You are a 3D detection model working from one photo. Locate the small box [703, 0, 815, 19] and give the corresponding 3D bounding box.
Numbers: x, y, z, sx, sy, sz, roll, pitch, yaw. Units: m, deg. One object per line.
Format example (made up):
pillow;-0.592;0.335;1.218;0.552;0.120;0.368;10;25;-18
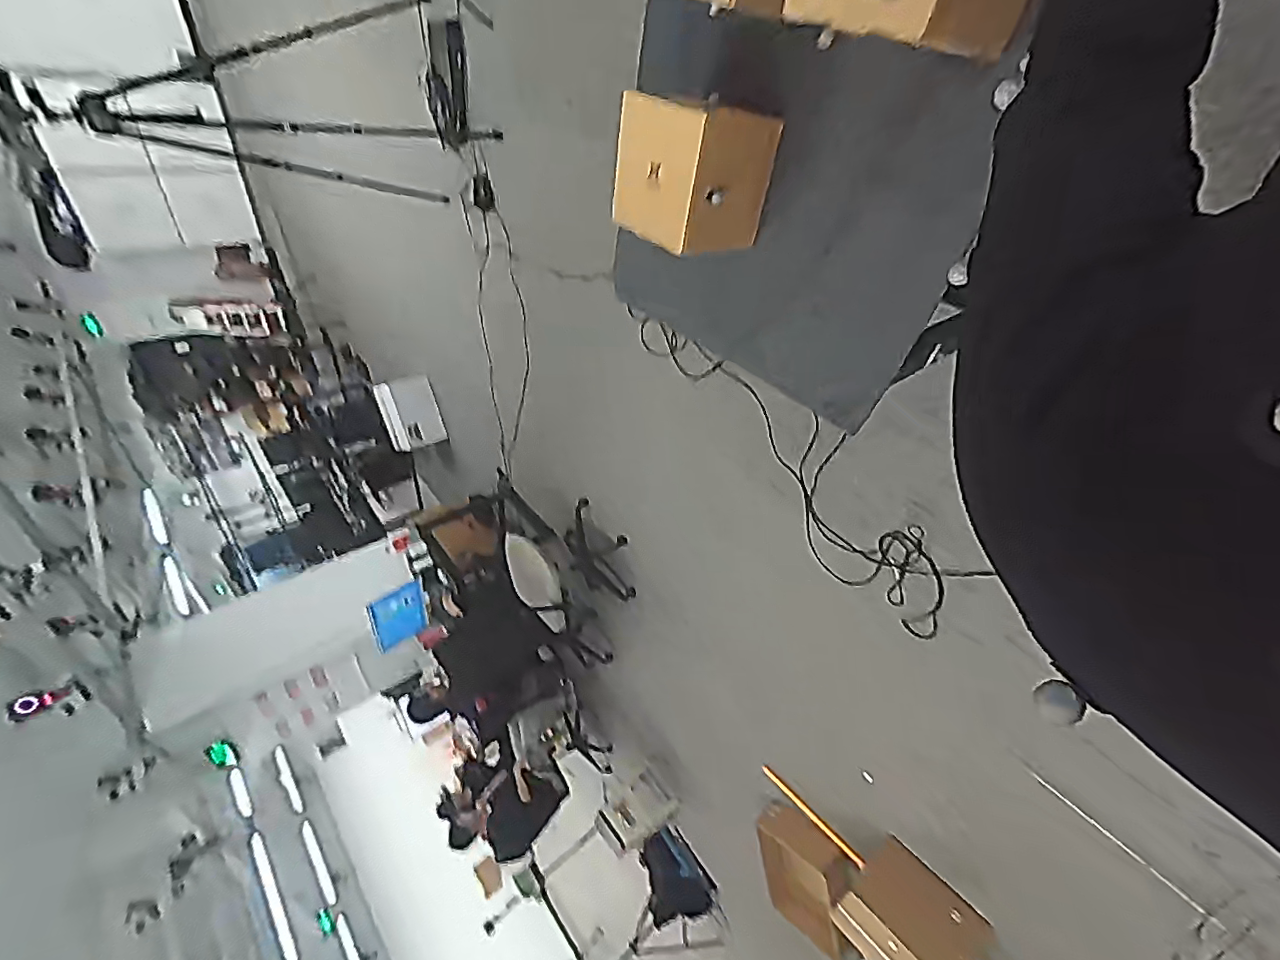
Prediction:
small box;0.127;-0.667;0.632;0.179;0.176;0.168;46;142;28
